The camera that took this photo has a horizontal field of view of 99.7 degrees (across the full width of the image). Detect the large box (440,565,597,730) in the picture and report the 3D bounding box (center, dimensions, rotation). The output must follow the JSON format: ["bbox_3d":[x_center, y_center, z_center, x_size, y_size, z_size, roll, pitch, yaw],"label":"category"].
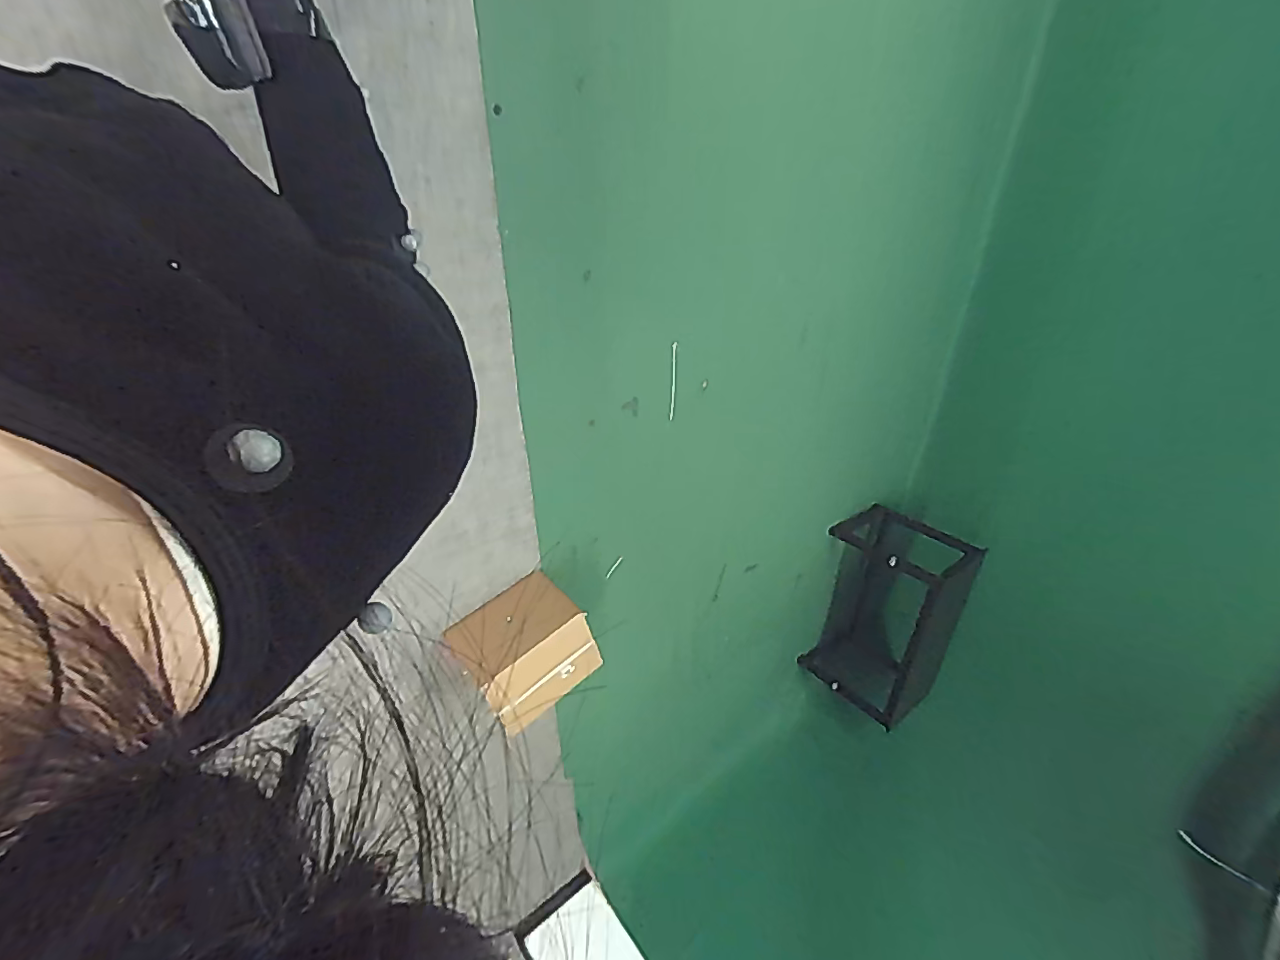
[{"bbox_3d":[-0.431,0.590,1.953,0.408,0.320,0.320,-35,133,-25],"label":"large box"}]
